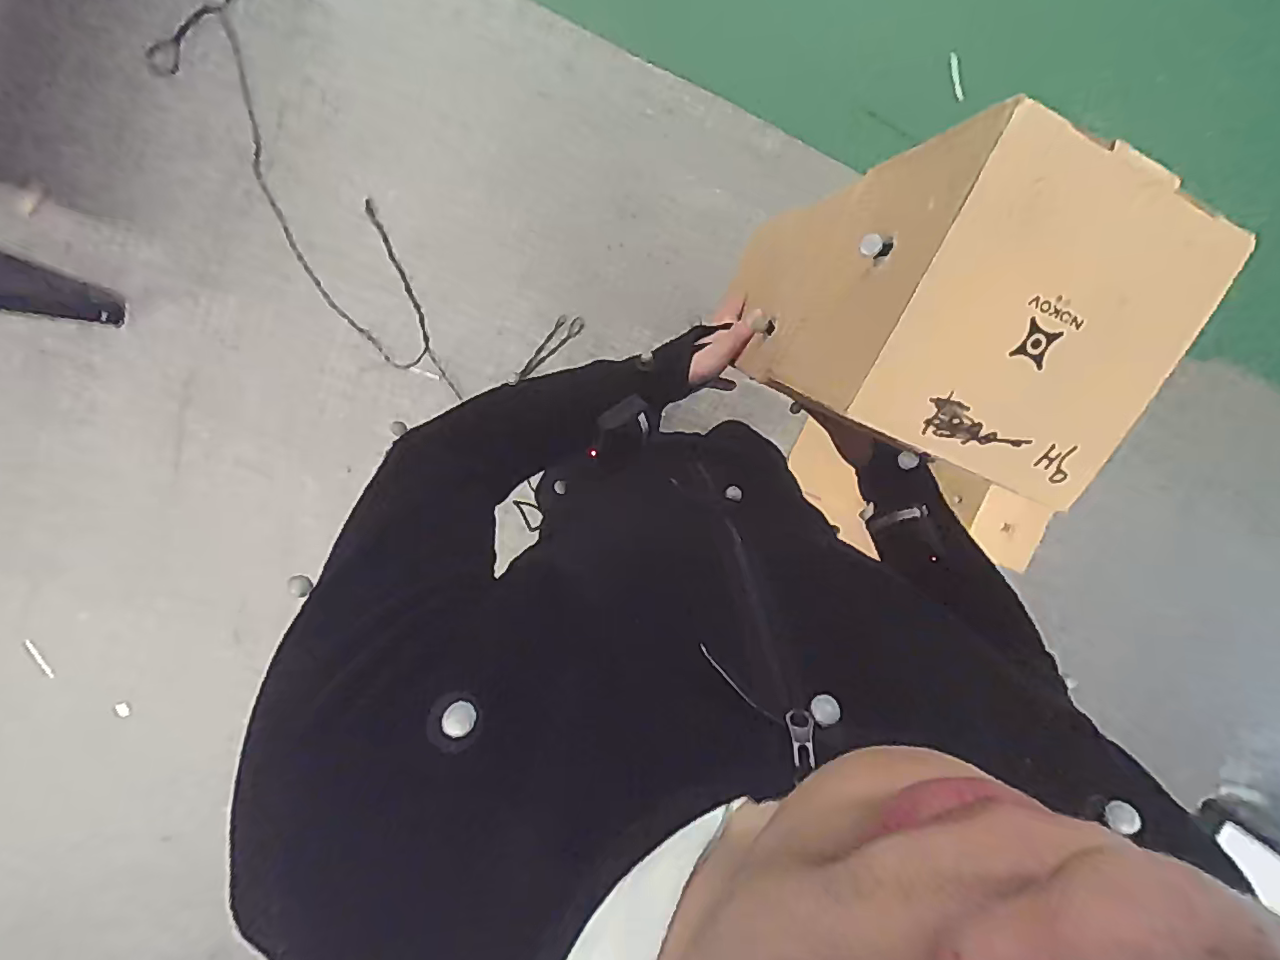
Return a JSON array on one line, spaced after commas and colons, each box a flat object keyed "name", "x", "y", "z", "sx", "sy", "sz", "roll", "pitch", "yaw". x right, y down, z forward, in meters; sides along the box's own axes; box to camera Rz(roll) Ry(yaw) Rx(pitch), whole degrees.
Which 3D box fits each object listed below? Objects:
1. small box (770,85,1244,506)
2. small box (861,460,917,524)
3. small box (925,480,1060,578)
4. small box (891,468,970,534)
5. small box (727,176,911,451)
[{"name": "small box", "x": 0.211, "y": -0.112, "z": 0.372, "sx": 0.168, "sy": 0.176, "sz": 0.179, "roll": 21, "pitch": 106, "yaw": -9}, {"name": "small box", "x": 0.794, "y": 0.047, "z": 1.596, "sx": 0.179, "sy": 0.176, "sz": 0.168, "roll": 16, "pitch": 98, "yaw": -7}, {"name": "small box", "x": 0.819, "y": 0.107, "z": 1.277, "sx": 0.179, "sy": 0.176, "sz": 0.168, "roll": 20, "pitch": 97, "yaw": -8}, {"name": "small box", "x": 0.807, "y": 0.075, "z": 1.436, "sx": 0.179, "sy": 0.176, "sz": 0.168, "roll": 20, "pitch": 97, "yaw": -8}, {"name": "small box", "x": 0.198, "y": -0.155, "z": 0.529, "sx": 0.168, "sy": 0.176, "sz": 0.179, "roll": 22, "pitch": 105, "yaw": -10}]
